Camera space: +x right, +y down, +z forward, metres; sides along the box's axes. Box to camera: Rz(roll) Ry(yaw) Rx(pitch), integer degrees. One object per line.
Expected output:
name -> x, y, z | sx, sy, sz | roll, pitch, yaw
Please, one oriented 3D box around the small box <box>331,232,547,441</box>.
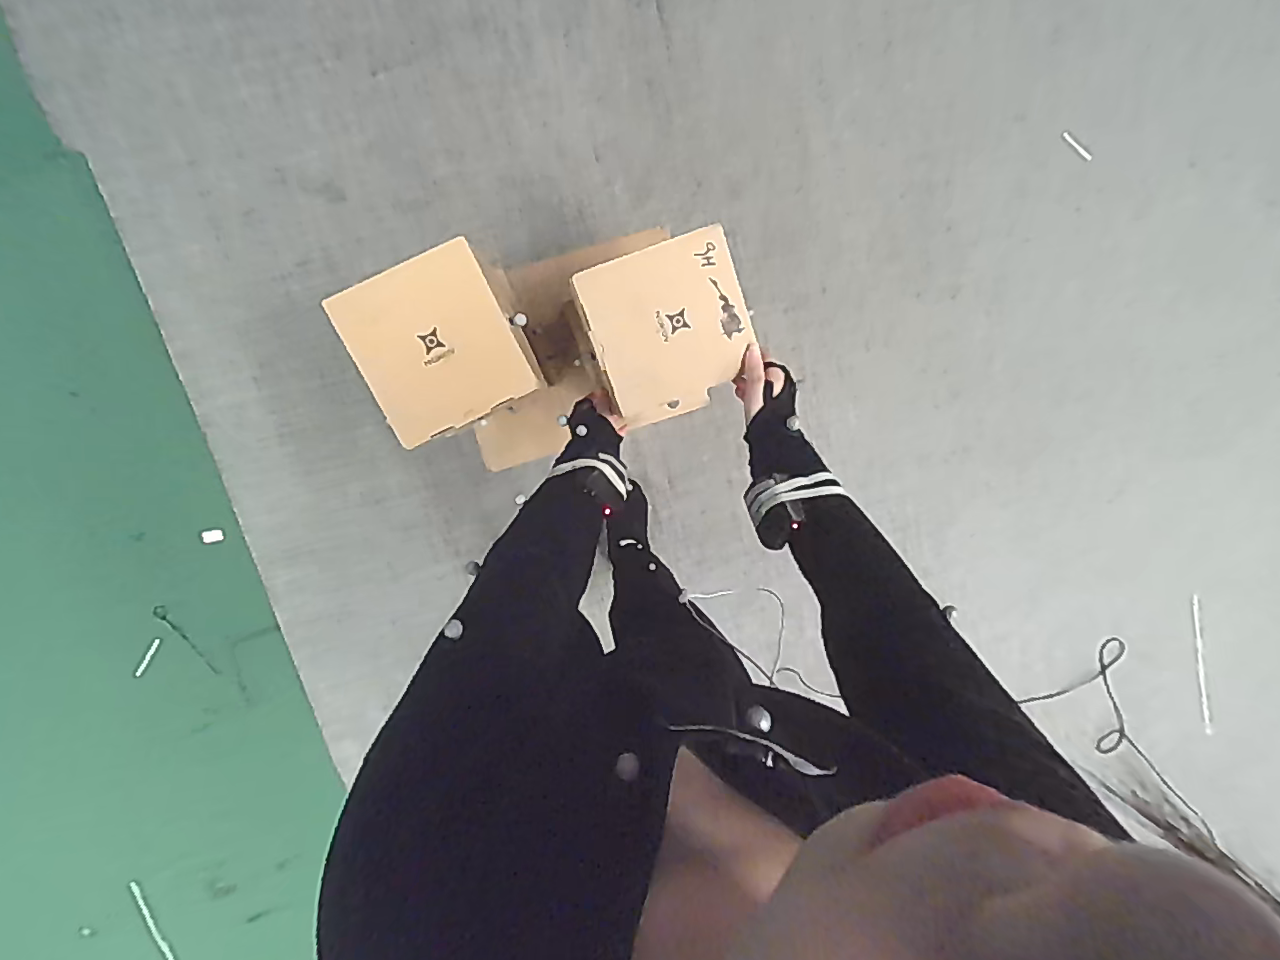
small box -> -0.225, -0.164, 0.658 | 0.168, 0.176, 0.179 | -25, 102, -1
